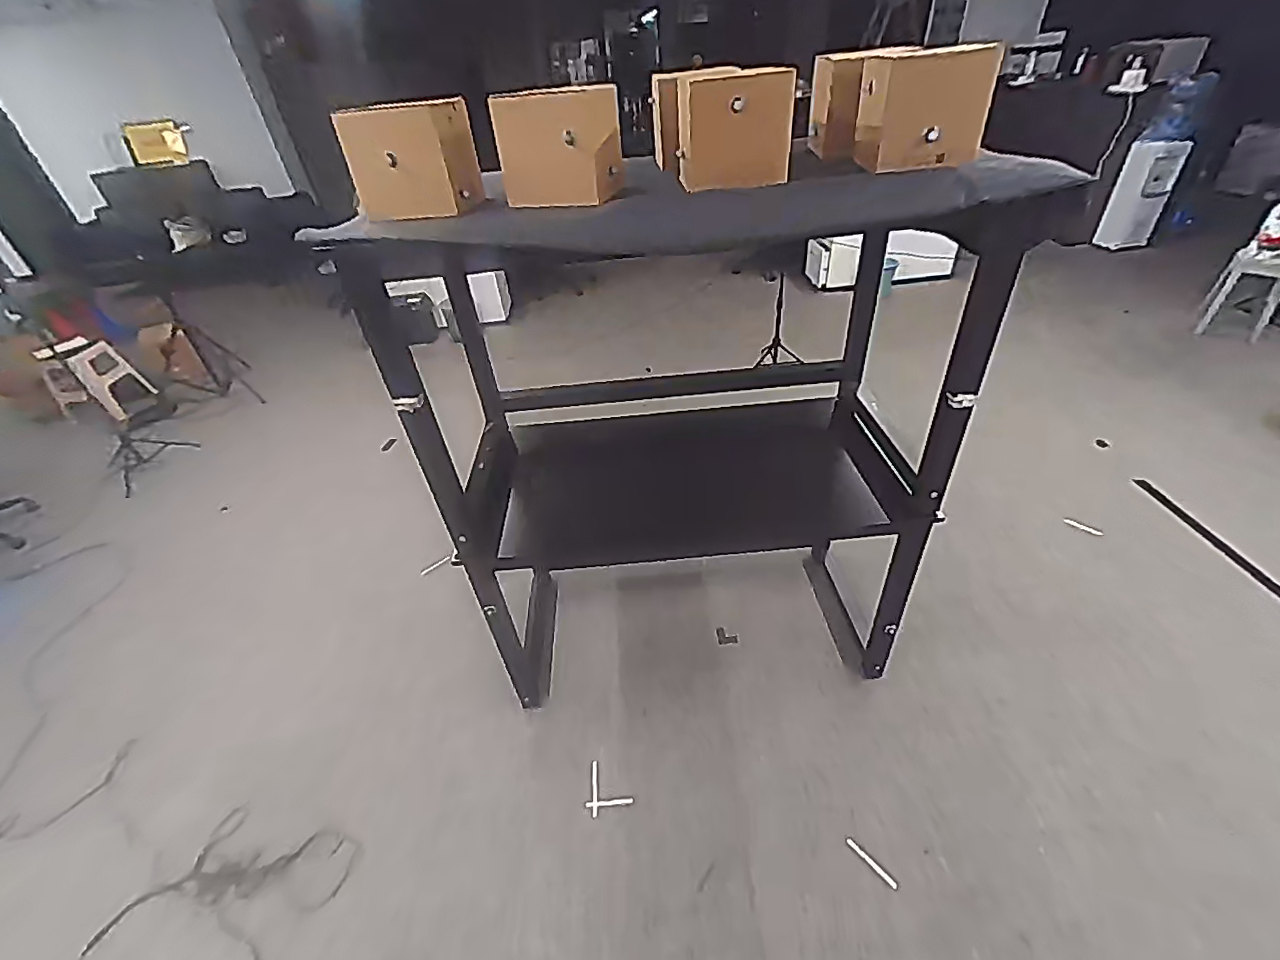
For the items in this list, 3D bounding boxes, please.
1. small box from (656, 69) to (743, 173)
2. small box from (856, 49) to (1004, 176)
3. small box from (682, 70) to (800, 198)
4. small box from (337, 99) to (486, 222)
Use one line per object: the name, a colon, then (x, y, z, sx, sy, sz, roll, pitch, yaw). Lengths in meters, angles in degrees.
small box: (0.124, -0.774, 1.167, 0.168, 0.176, 0.179, -6, 38, 1)
small box: (0.495, -0.646, 0.956, 0.168, 0.176, 0.179, -1, 38, 7)
small box: (0.171, -0.621, 0.971, 0.179, 0.176, 0.168, -6, 38, 1)
small box: (-0.399, -0.582, 0.987, 0.179, 0.176, 0.168, -1, 37, 6)
